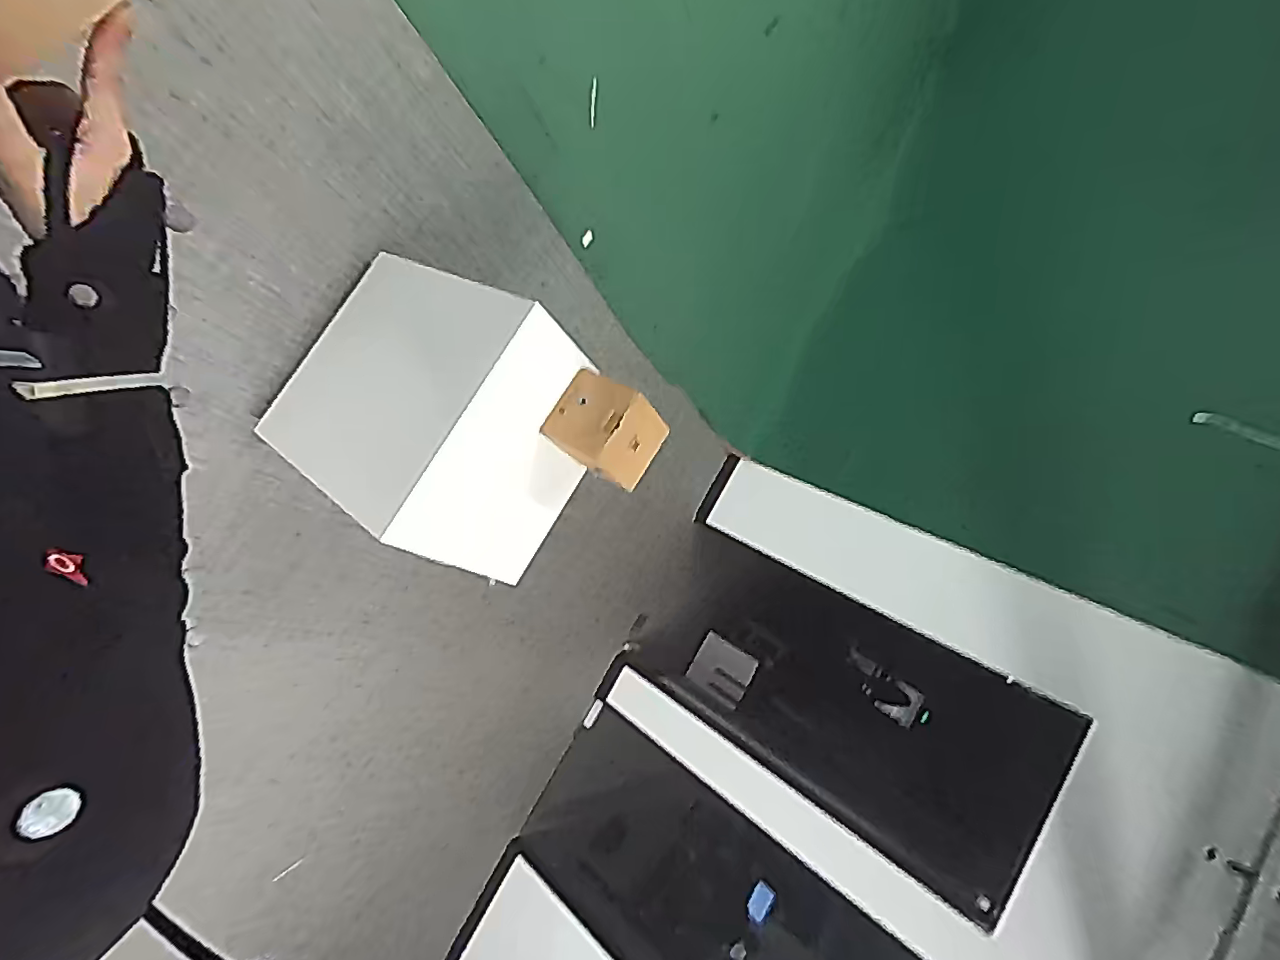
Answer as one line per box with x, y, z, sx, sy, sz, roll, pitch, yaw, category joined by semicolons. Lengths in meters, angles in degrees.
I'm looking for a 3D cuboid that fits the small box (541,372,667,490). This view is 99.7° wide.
-0.076;-0.107;1.162;0.168;0.176;0.179;-58;148;-7;small box
